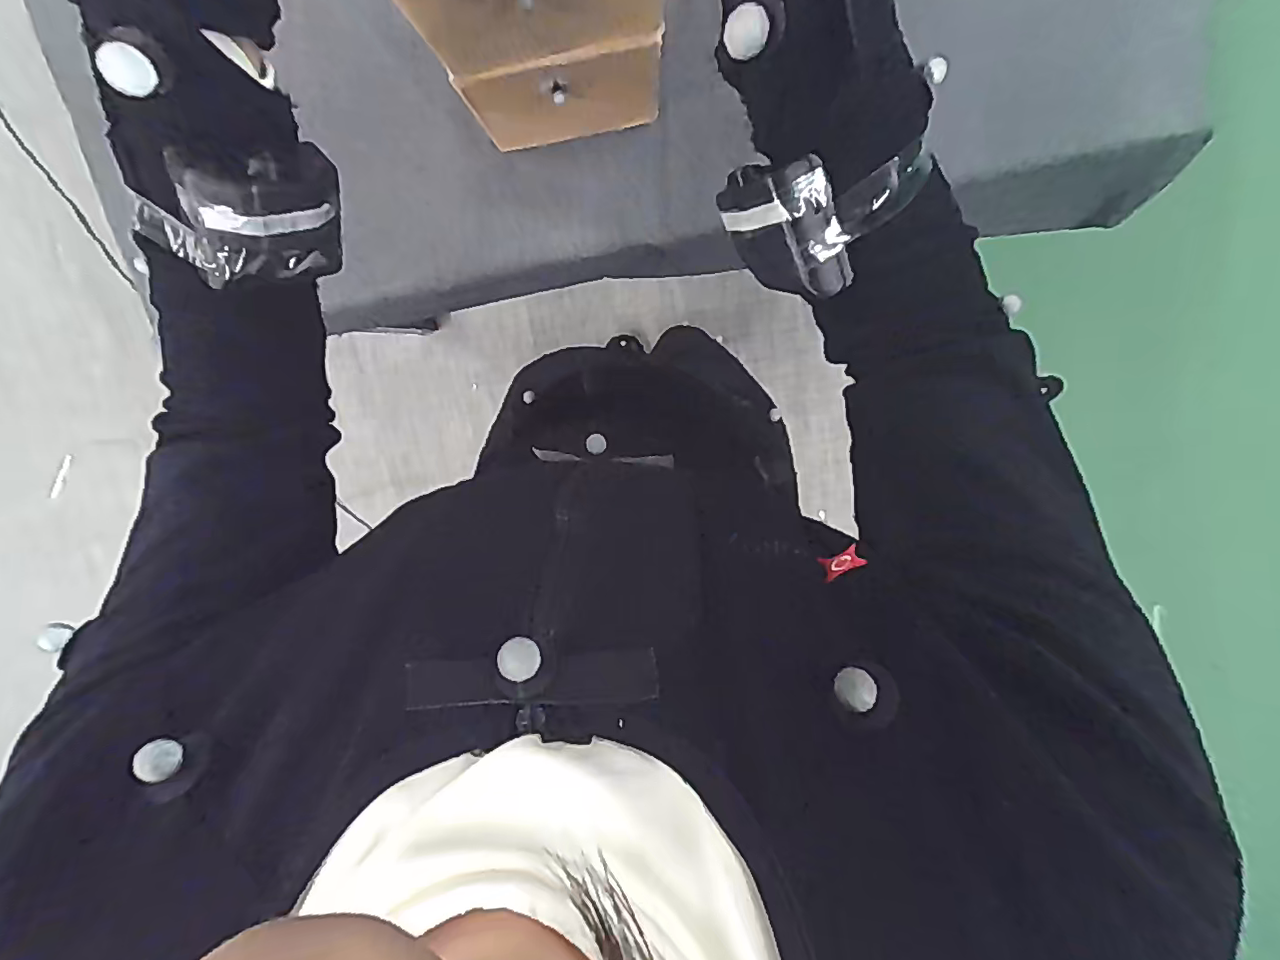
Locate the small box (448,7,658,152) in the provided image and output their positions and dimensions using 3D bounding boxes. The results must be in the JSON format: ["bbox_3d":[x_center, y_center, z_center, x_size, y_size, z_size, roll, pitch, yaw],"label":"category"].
[{"bbox_3d":[-0.083,-0.431,0.501,0.179,0.176,0.168,-10,105,2],"label":"small box"}]

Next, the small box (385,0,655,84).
[{"bbox_3d":[-0.084,-0.392,0.341,0.179,0.176,0.168,-11,105,5],"label":"small box"}]
